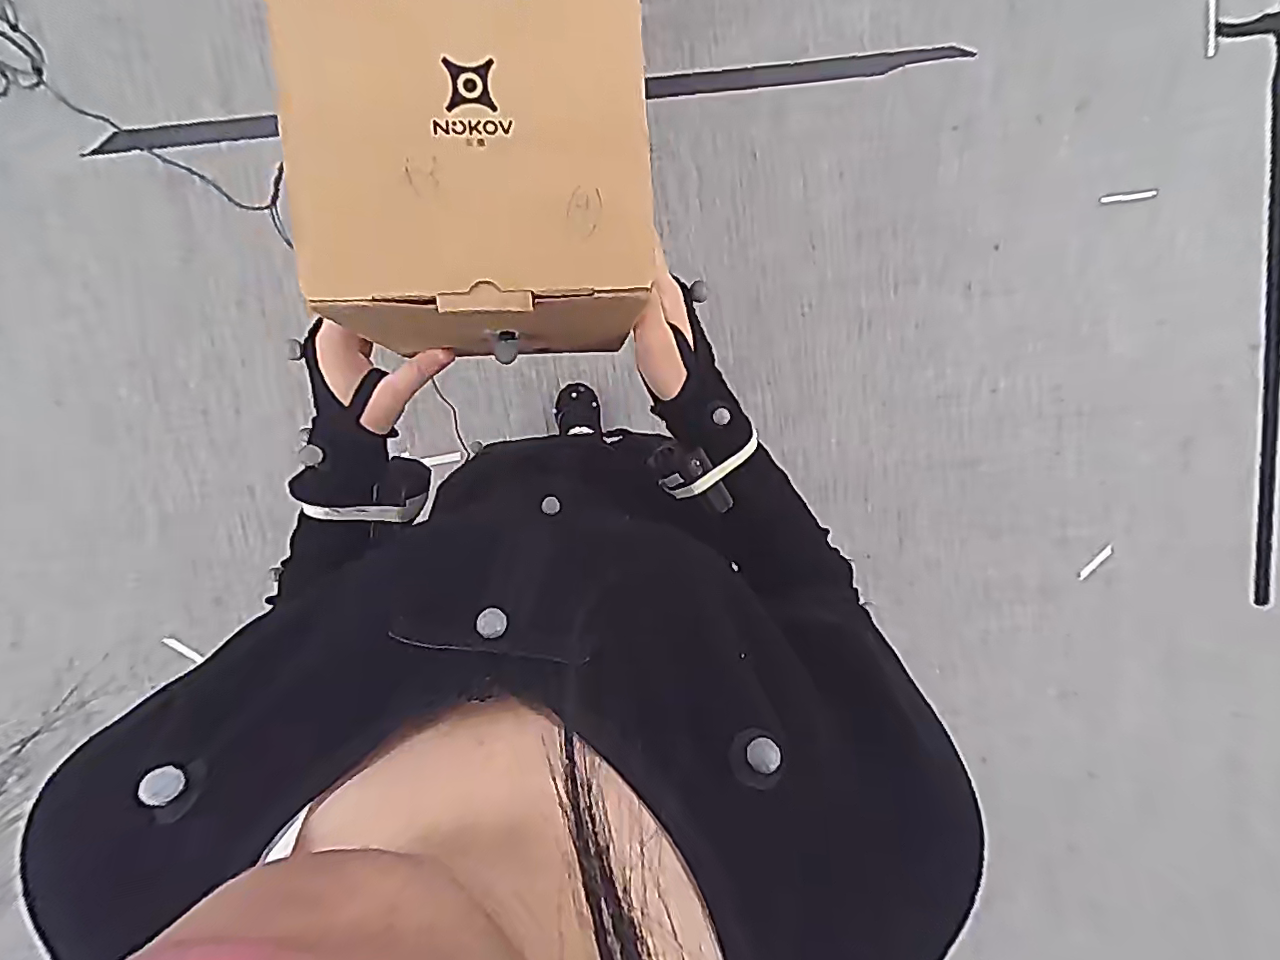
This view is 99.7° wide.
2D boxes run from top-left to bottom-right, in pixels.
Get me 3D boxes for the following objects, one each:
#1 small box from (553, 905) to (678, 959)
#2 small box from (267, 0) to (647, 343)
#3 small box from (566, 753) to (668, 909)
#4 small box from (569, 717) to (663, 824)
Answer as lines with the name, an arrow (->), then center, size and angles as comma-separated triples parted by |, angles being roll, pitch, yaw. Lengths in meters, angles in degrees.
small box -> -0.027, 0.699, 0.706 | 0.168, 0.176, 0.179 | -6, 98, -2
small box -> -0.090, -0.181, 0.327 | 0.168, 0.176, 0.179 | -4, 95, -8
small box -> -0.042, 0.661, 1.032 | 0.168, 0.176, 0.179 | -8, 97, -2
small box -> -0.053, 0.648, 1.193 | 0.179, 0.176, 0.168 | -9, 97, -1
